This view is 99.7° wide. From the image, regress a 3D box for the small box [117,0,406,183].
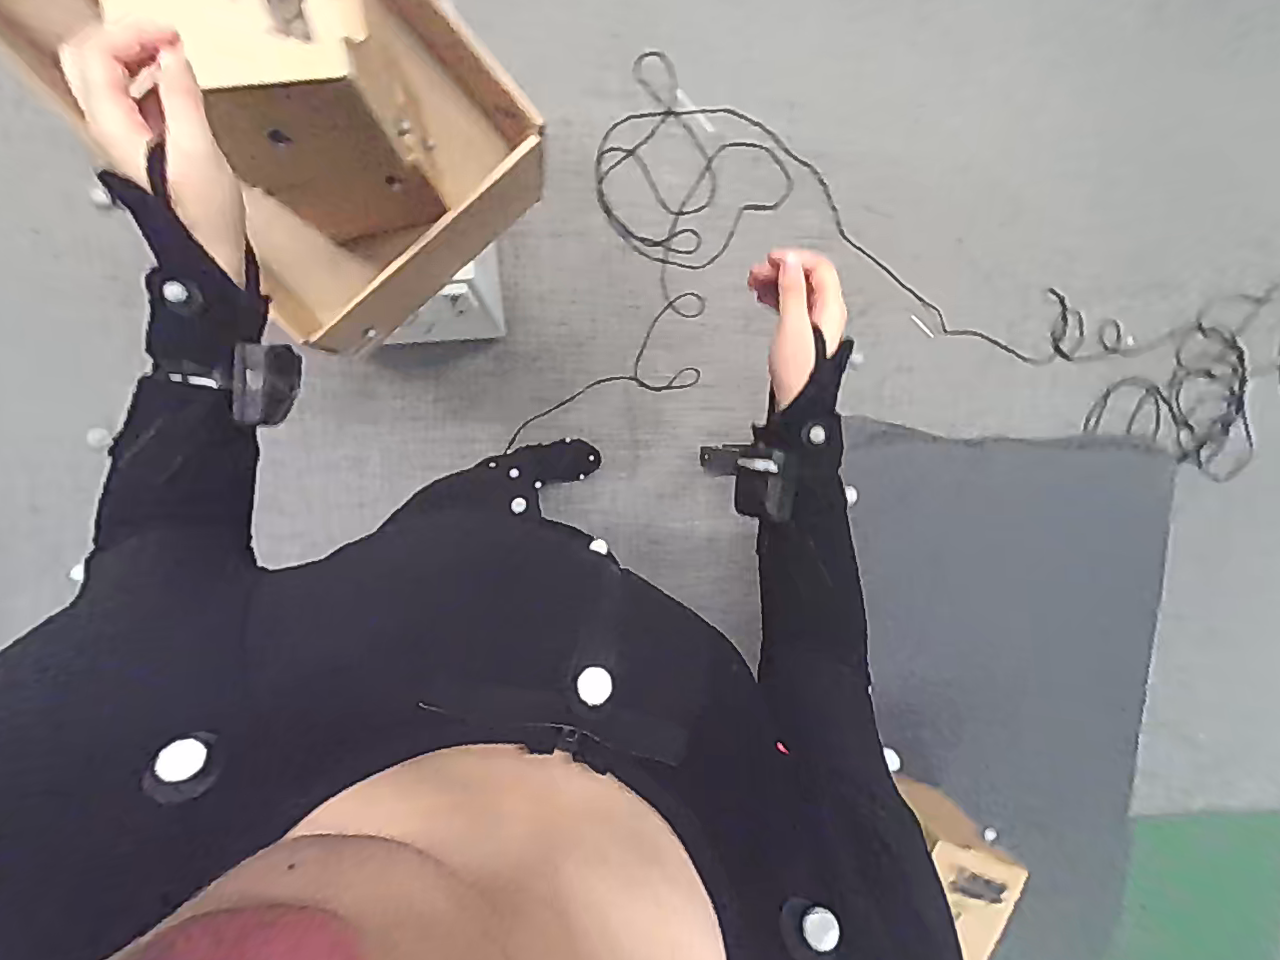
[{"bbox_3d":[-0.340,-0.409,0.515,0.179,0.176,0.168,-9,96,-5],"label":"small box"}]
